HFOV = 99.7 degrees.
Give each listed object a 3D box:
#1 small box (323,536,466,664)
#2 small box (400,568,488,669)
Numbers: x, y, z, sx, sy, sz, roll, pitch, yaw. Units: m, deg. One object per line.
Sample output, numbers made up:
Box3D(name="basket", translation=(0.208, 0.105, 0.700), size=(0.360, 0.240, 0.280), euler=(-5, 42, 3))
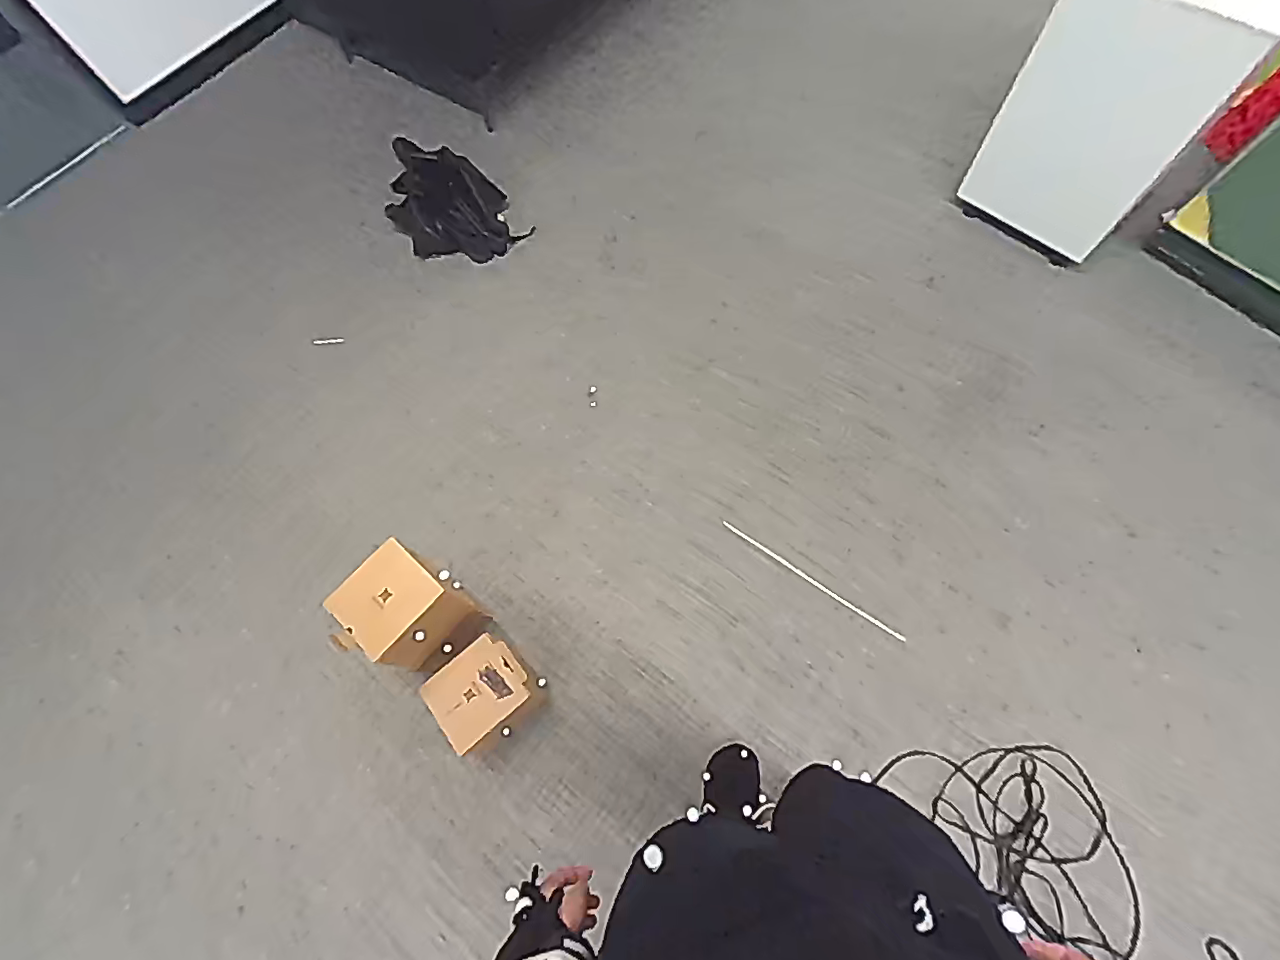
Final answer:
Box3D(name="small box", translation=(-0.474, 0.245, 1.082), size=(0.168, 0.176, 0.179), euler=(38, 76, 17))
Box3D(name="small box", translation=(-0.480, 0.311, 1.232), size=(0.168, 0.176, 0.179), euler=(38, 76, 18))
